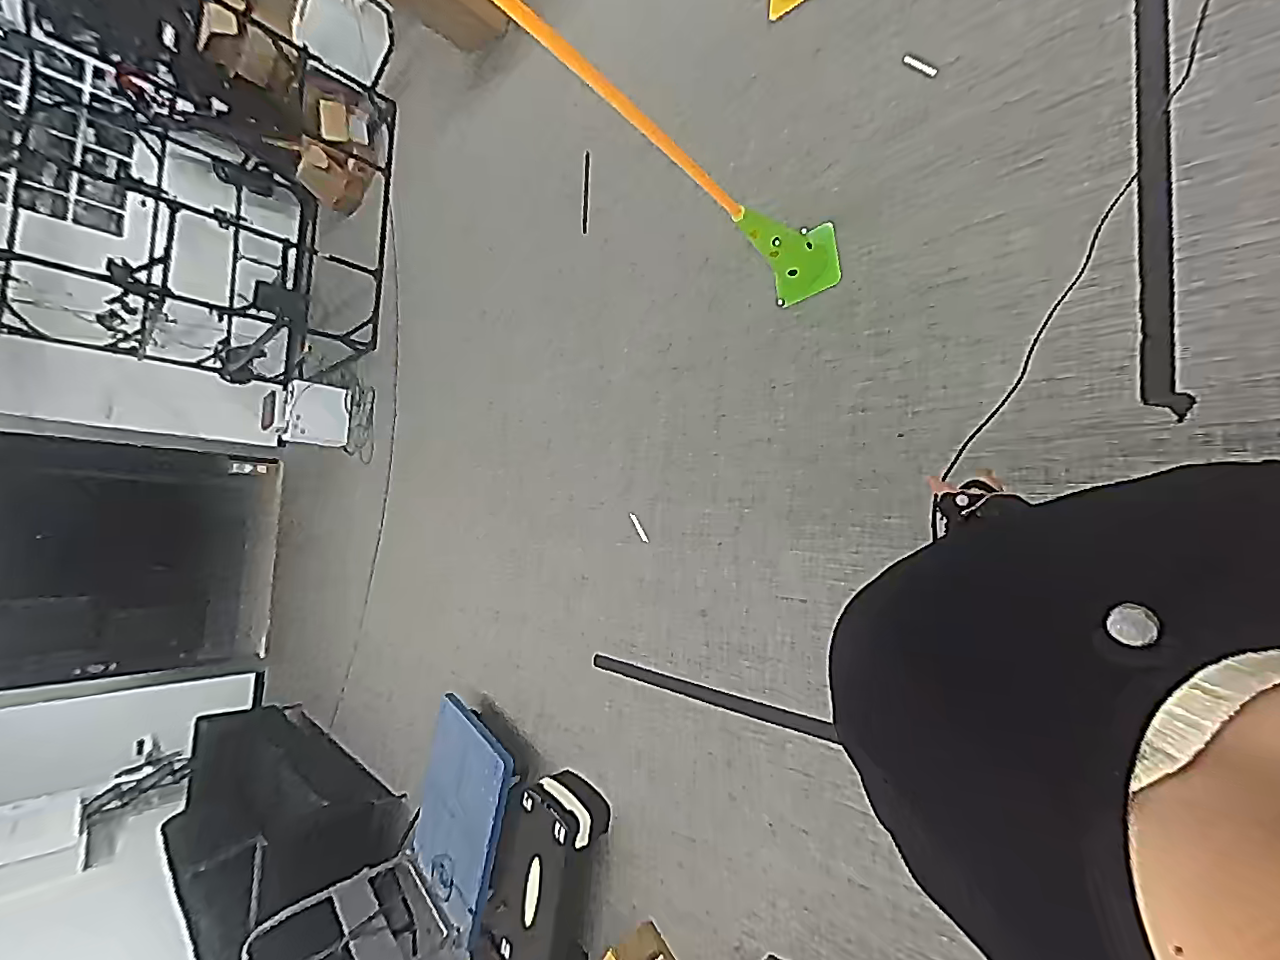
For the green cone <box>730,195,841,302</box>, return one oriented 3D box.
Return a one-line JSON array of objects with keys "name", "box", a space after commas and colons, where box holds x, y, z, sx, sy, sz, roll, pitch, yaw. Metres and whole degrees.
[{"name": "green cone", "box": [0.370, -0.667, 1.474, 0.200, 0.368, 0.202, -16, 72, 42]}]
